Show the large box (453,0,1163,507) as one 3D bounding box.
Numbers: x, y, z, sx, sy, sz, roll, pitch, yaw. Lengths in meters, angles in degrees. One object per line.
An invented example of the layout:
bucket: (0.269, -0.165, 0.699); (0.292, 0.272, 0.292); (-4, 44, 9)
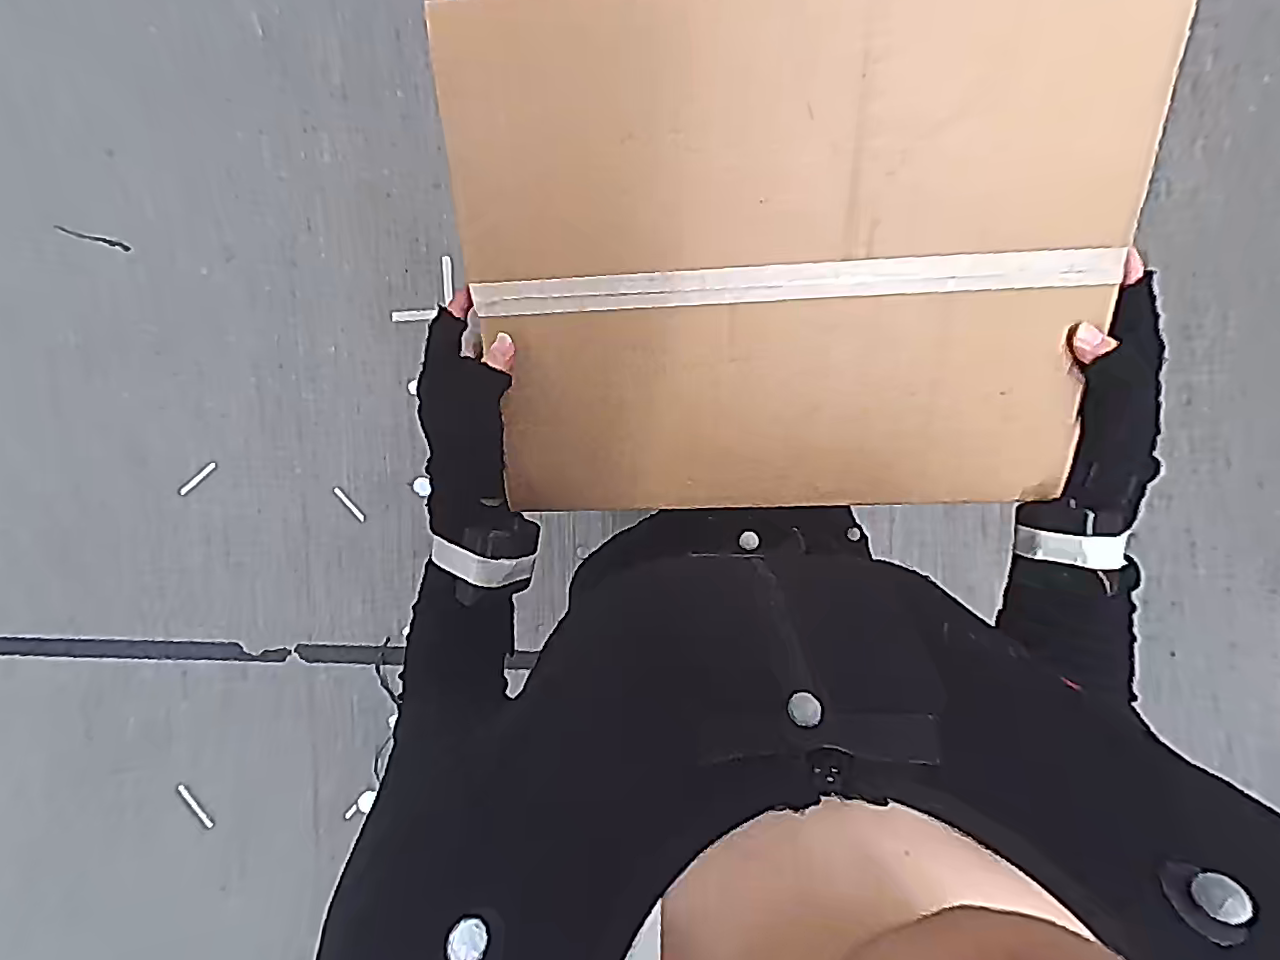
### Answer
large box: (0.101, -0.184, 0.497); (0.408, 0.320, 0.320); (-2, 114, 4)
